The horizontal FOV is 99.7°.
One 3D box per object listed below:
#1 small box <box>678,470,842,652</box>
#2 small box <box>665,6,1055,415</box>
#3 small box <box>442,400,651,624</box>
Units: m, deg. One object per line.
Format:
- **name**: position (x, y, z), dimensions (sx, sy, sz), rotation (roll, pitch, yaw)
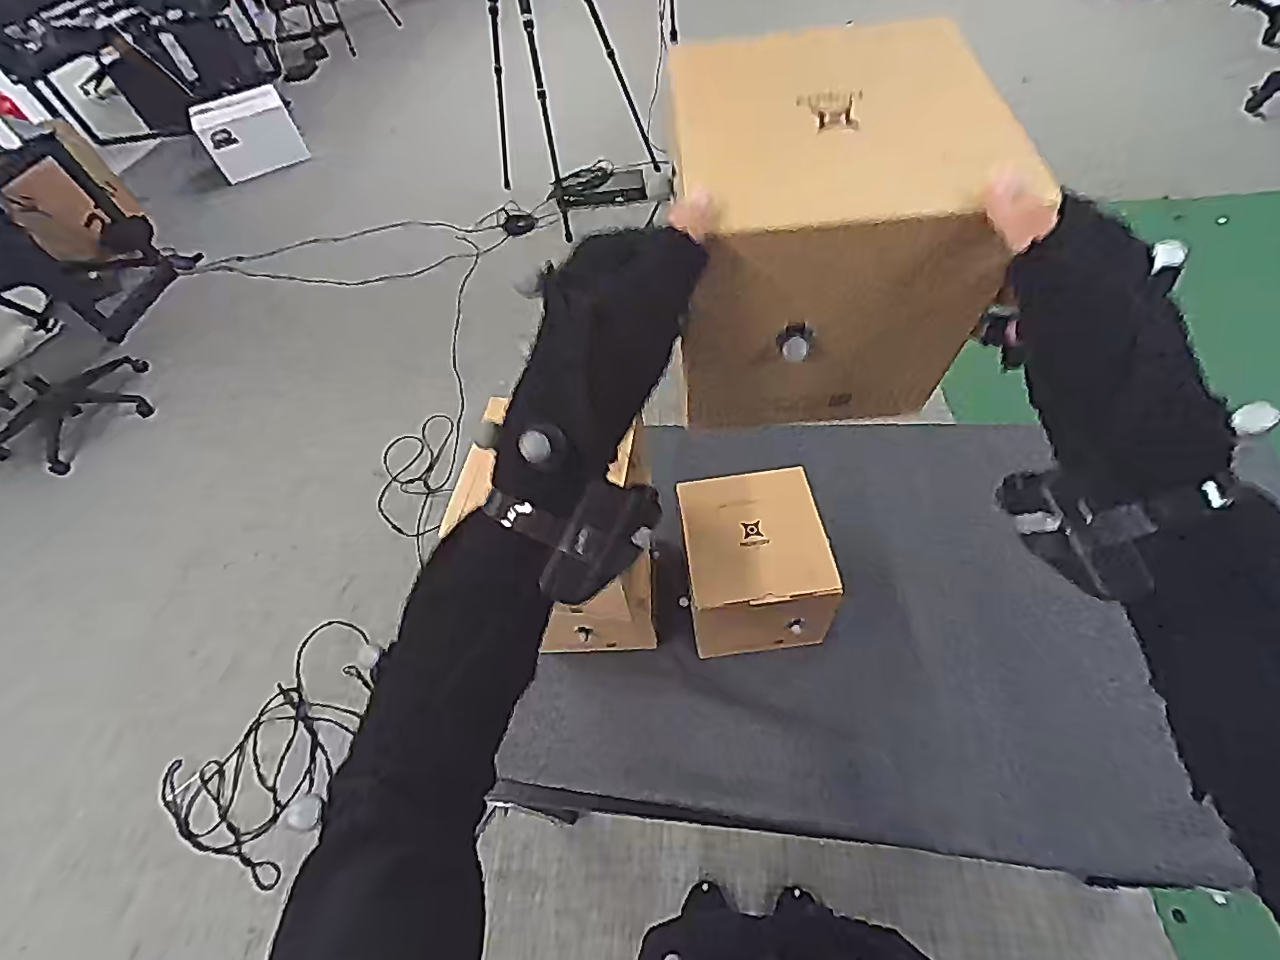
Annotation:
- **small box**: position (0.144, 0.114, 0.706), dimensions (0.168, 0.176, 0.179), rotation (-7, 53, 1)
- **small box**: position (0.106, -0.154, 0.349), dimensions (0.168, 0.176, 0.179), rotation (-4, 61, 3)
- **small box**: position (-0.081, 0.036, 0.587), dimensions (0.168, 0.176, 0.179), rotation (3, 55, 9)
